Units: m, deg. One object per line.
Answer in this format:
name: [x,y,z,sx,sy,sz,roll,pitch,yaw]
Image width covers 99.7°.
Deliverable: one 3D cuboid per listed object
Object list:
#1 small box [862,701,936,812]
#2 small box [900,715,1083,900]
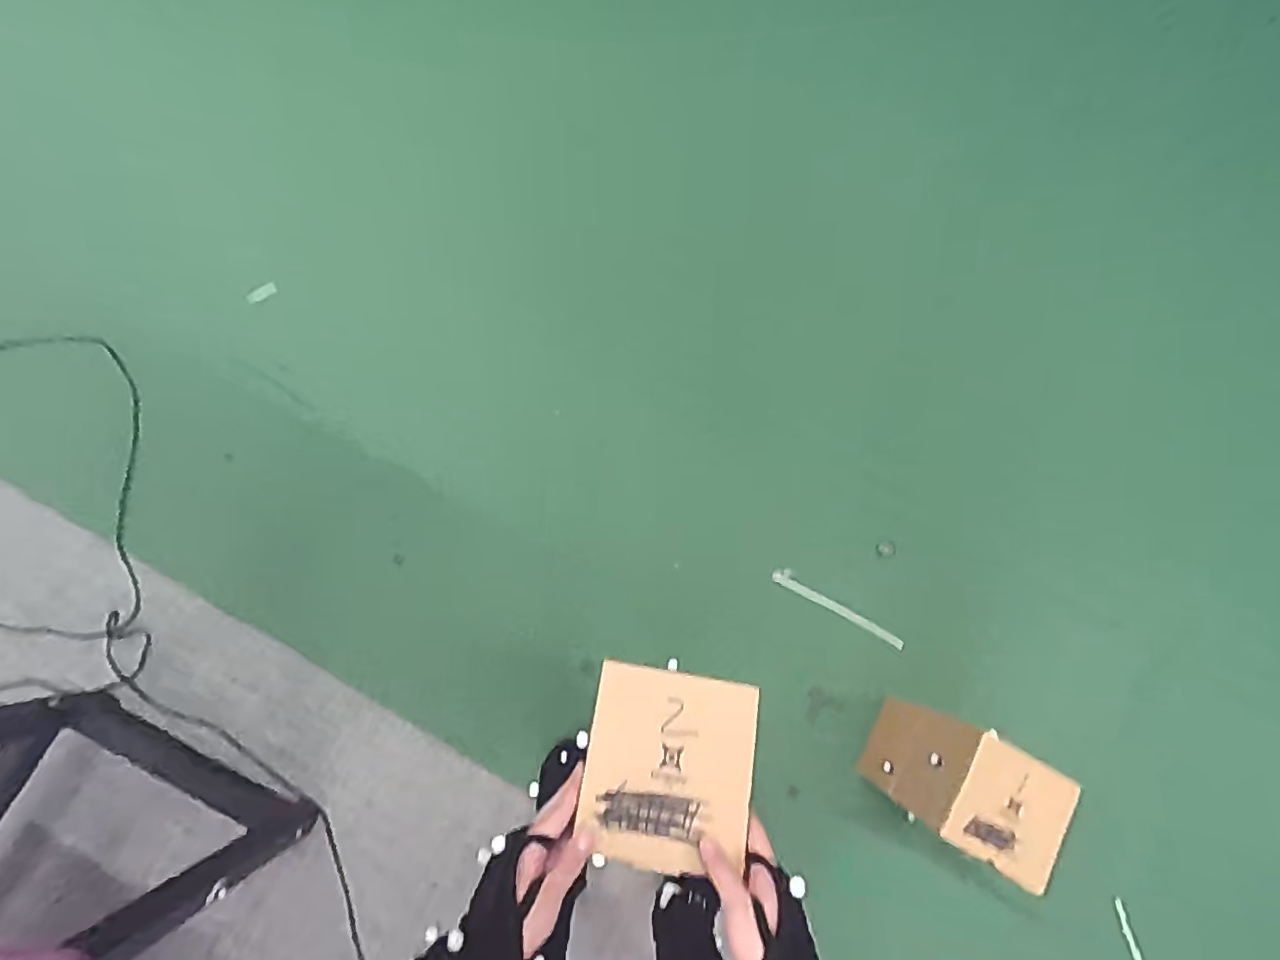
small box: [0.566,0.560,1.057,0.168,0.176,0.179,29,80,6]
small box: [0.566,0.525,0.897,0.168,0.176,0.179,30,79,6]
